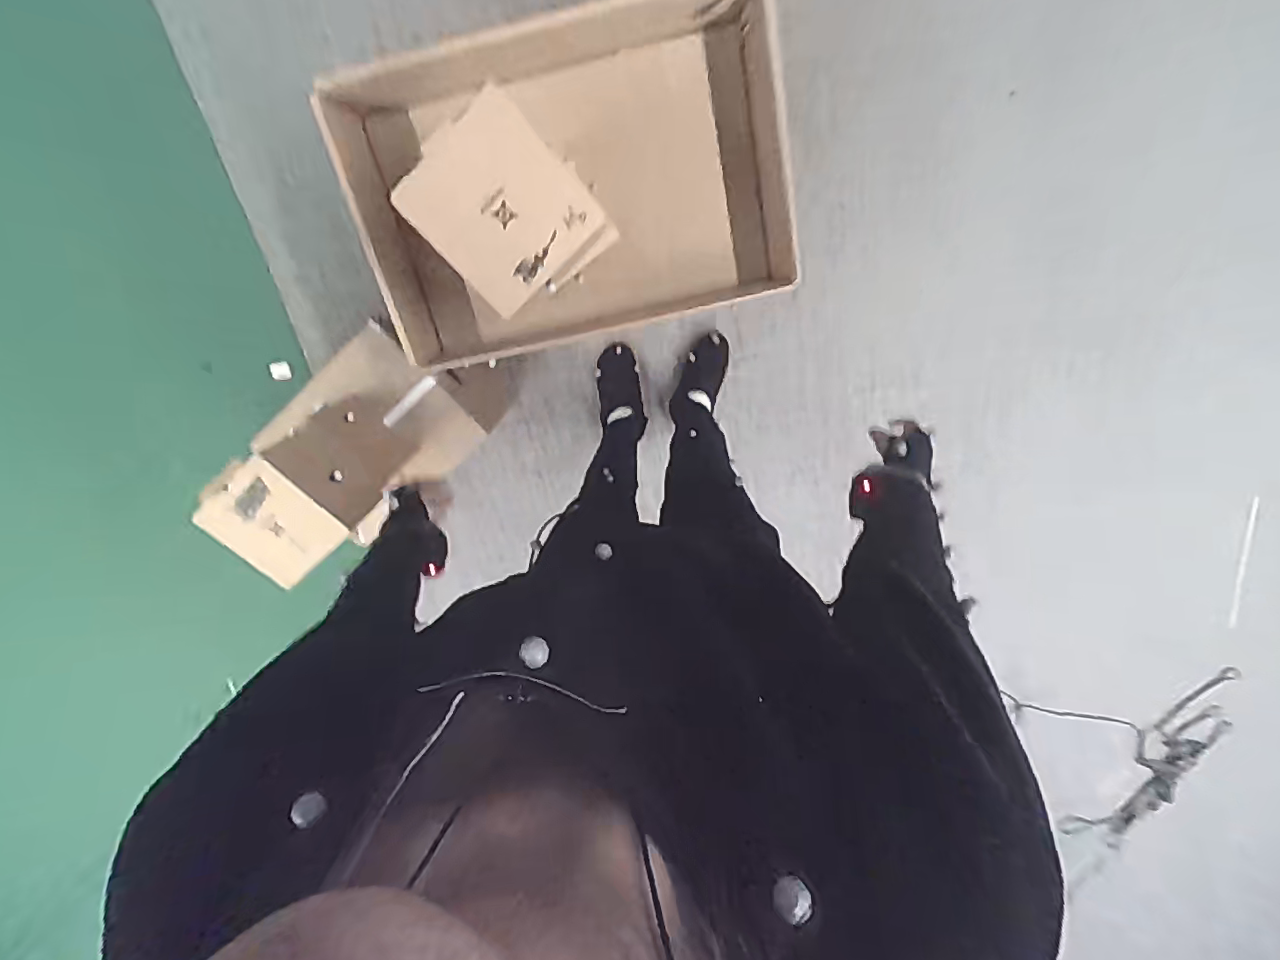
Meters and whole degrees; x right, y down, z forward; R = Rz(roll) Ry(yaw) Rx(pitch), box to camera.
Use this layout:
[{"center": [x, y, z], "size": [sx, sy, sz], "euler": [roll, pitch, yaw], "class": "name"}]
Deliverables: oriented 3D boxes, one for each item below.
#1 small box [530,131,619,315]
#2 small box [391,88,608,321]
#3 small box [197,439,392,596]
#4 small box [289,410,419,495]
[{"center": [-0.144, -0.376, 0.817], "size": [0.168, 0.176, 0.179], "euler": [-35, 107, 10], "class": "small box"}, {"center": [-0.156, -0.317, 0.663], "size": [0.168, 0.176, 0.179], "euler": [-41, 106, 12], "class": "small box"}, {"center": [-0.560, 0.050, 0.901], "size": [0.168, 0.176, 0.179], "euler": [-38, 108, 13], "class": "small box"}, {"center": [-0.572, -0.017, 1.051], "size": [0.168, 0.176, 0.179], "euler": [-43, 106, 14], "class": "small box"}]
